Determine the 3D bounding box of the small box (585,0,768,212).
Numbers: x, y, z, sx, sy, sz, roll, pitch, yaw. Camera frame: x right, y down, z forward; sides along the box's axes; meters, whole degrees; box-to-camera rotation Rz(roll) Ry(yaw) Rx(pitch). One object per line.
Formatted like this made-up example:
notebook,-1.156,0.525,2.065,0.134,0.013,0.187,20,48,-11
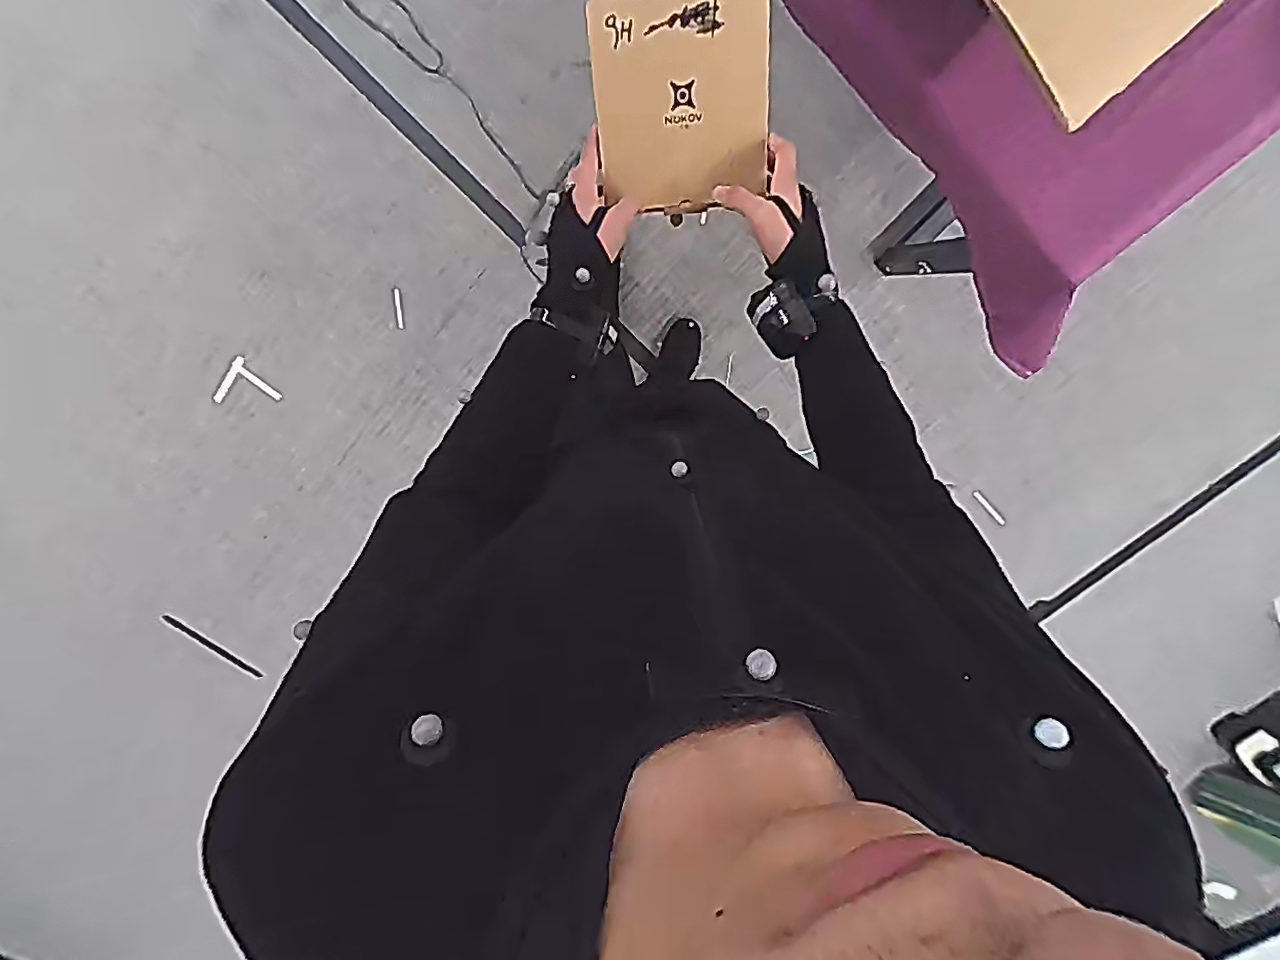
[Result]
small box,0.035,-0.395,0.586,0.168,0.176,0.179,-5,117,-1
